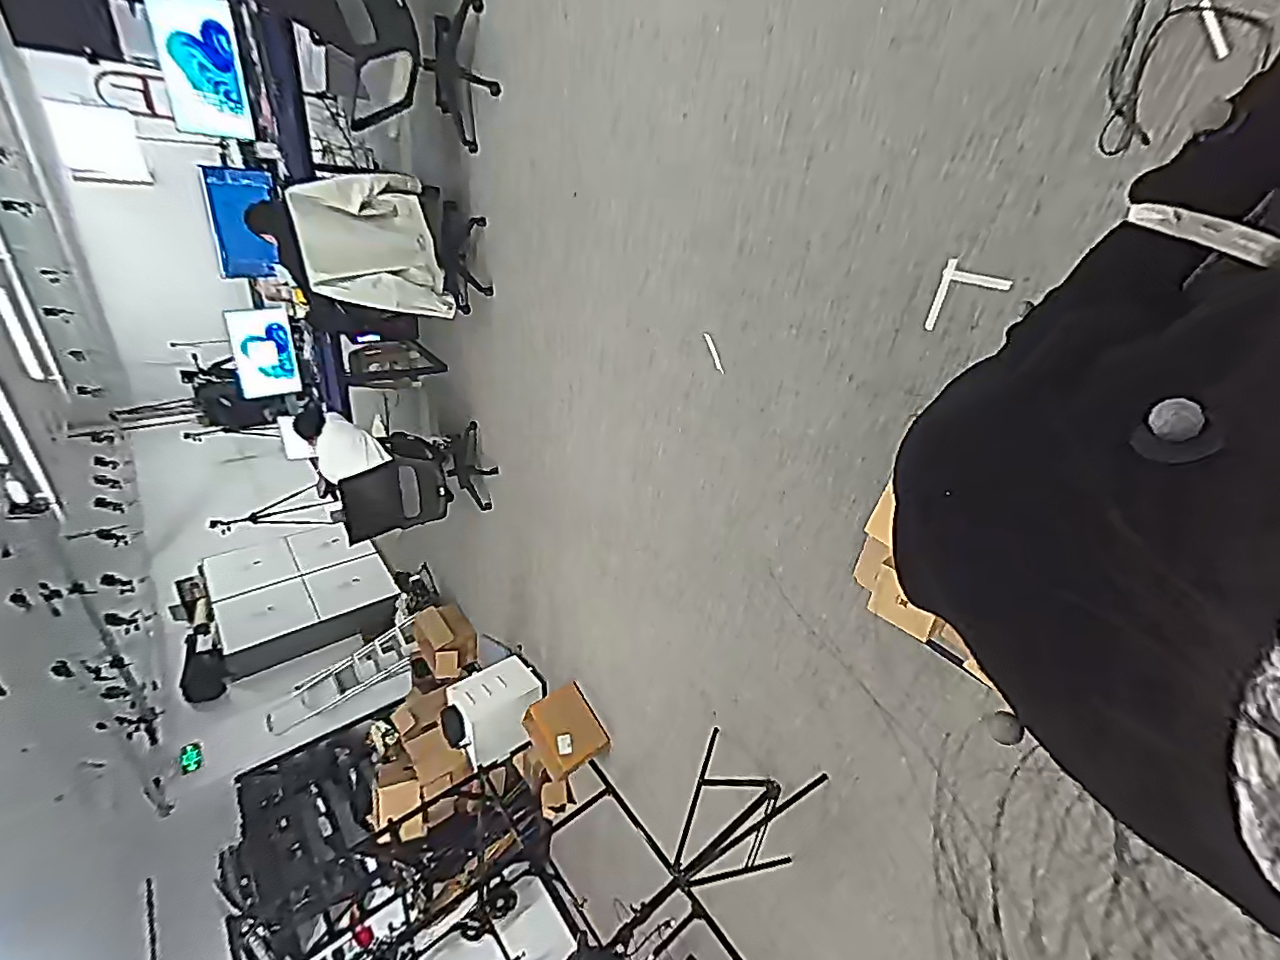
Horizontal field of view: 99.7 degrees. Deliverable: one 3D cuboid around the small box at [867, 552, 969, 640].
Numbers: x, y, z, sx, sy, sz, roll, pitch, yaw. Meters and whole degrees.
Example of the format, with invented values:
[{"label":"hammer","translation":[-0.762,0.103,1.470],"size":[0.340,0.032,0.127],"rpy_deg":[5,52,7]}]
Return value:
[{"label":"small box","translation":[0.778,0.308,1.514],"size":[0.179,0.176,0.168],"rpy_deg":[32,128,42]}]
